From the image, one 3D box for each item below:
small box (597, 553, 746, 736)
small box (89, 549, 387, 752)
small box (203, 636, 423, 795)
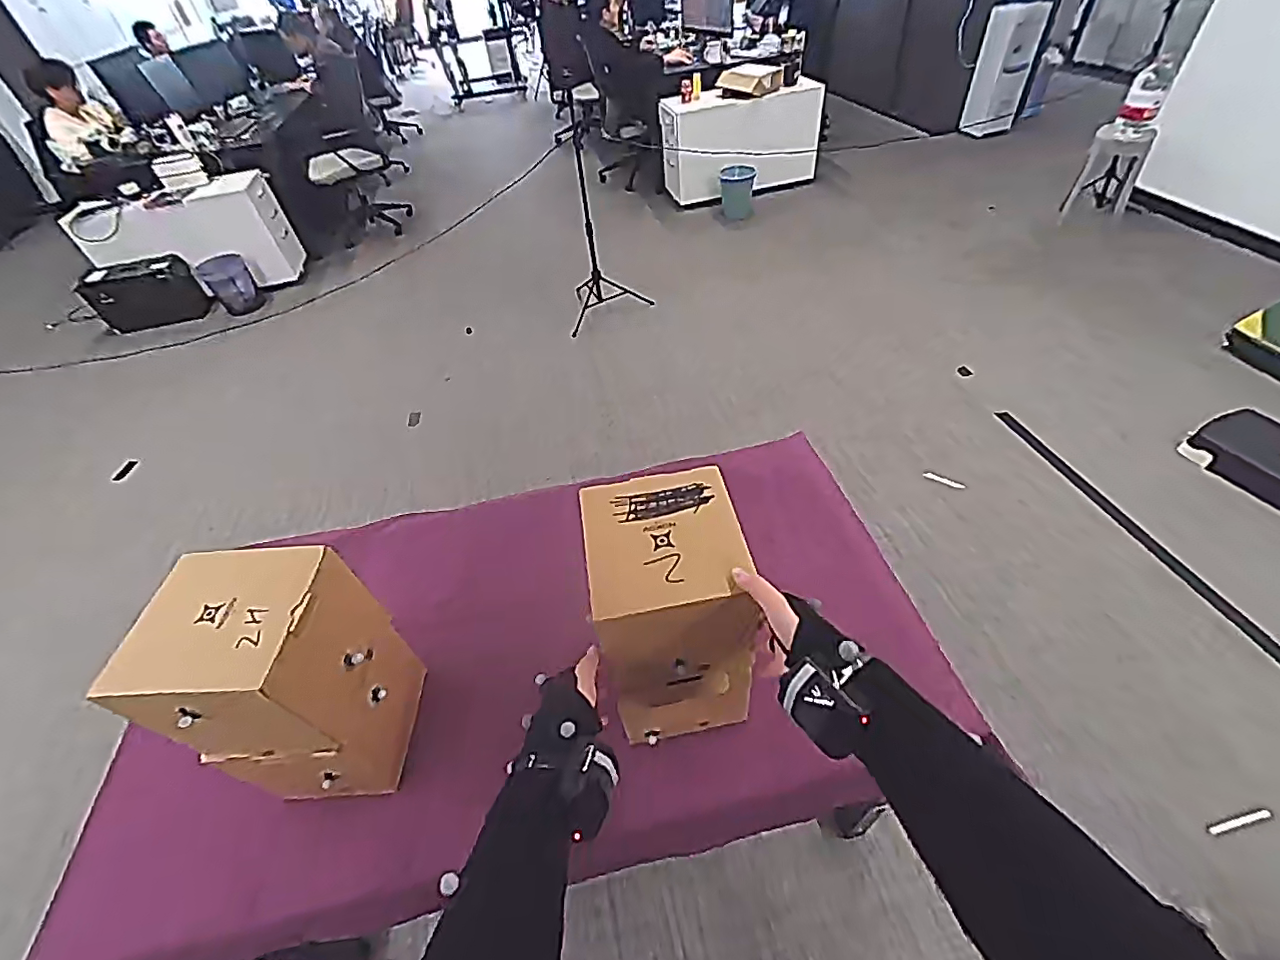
[{"bbox_3d":[0.042,0.231,0.741,0.168,0.176,0.179,-11,45,-3],"label":"small box"},{"bbox_3d":[-0.425,0.196,0.612,0.179,0.176,0.168,-3,47,3],"label":"small box"},{"bbox_3d":[-0.416,0.310,0.729,0.168,0.176,0.179,-4,46,2],"label":"small box"}]
